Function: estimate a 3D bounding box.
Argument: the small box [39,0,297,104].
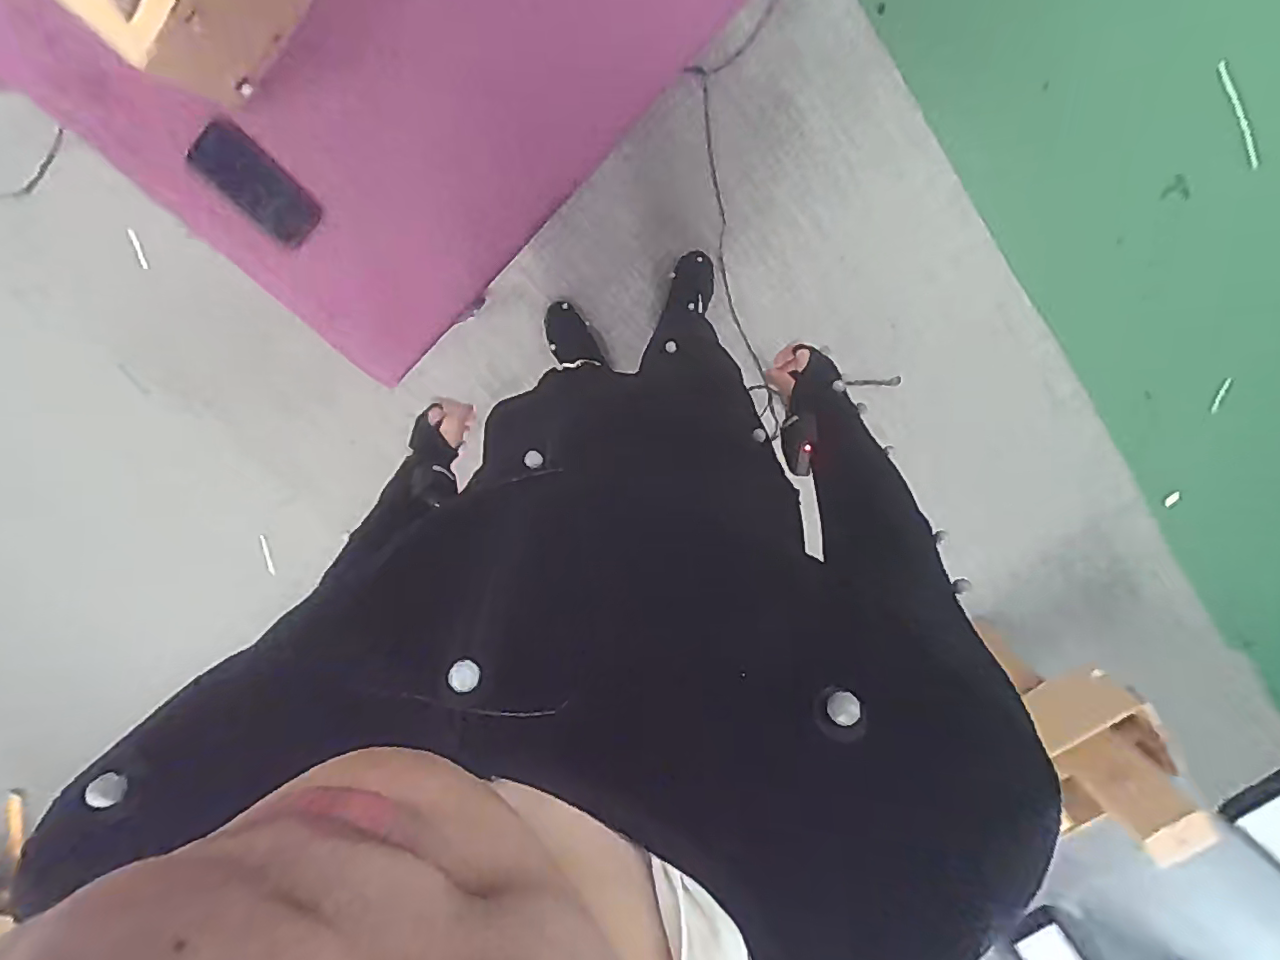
[{"bbox_3d":[-0.501,-0.526,0.550,0.179,0.176,0.168,42,102,-18],"label":"small box"}]

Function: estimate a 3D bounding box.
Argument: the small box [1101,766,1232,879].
[{"bbox_3d":[1.410,0.916,1.457,0.168,0.176,0.179,-38,110,10],"label":"small box"}]
